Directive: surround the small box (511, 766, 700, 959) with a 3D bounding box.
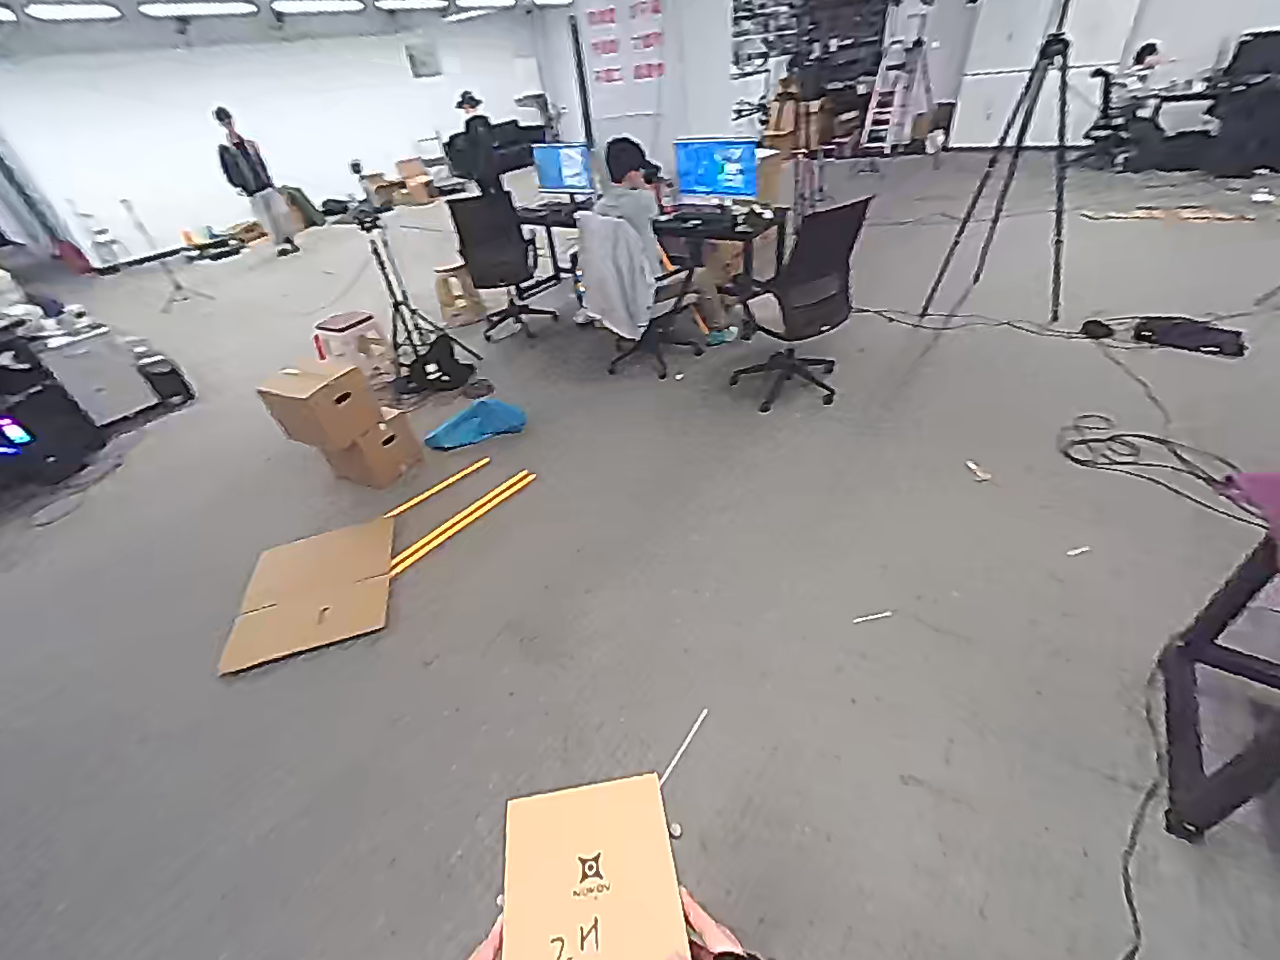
[{"bbox_3d":[-0.037,0.440,0.570,0.168,0.176,0.179,-8,37,-5],"label":"small box"}]
